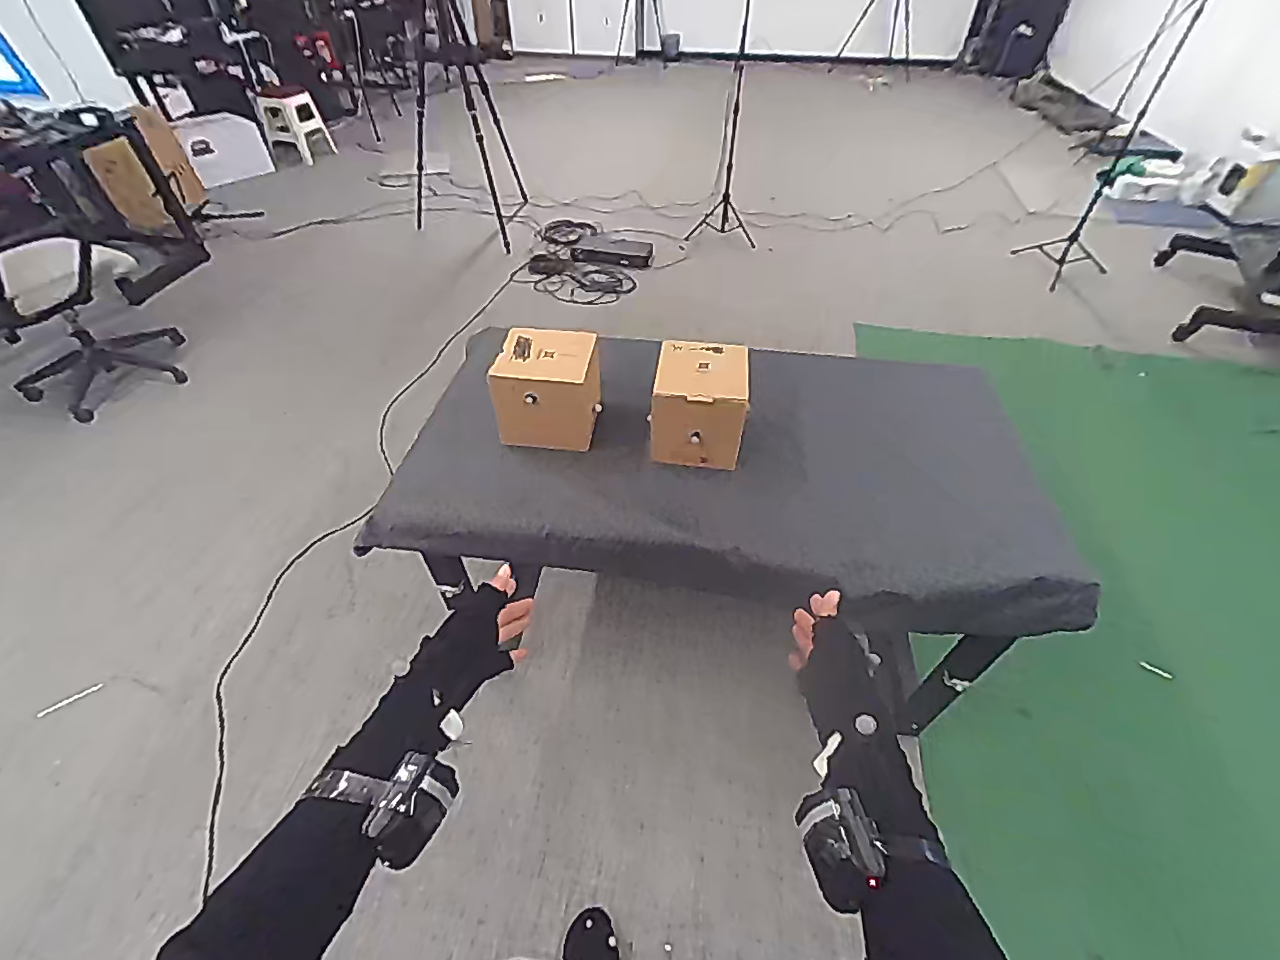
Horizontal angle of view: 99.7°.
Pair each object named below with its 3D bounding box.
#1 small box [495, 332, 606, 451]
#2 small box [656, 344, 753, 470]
[{"bbox_3d":[-0.166,-0.173,1.072,0.179,0.176,0.168,5,47,4],"label":"small box"},{"bbox_3d":[0.123,-0.138,1.042,0.168,0.176,0.179,6,47,6],"label":"small box"}]
